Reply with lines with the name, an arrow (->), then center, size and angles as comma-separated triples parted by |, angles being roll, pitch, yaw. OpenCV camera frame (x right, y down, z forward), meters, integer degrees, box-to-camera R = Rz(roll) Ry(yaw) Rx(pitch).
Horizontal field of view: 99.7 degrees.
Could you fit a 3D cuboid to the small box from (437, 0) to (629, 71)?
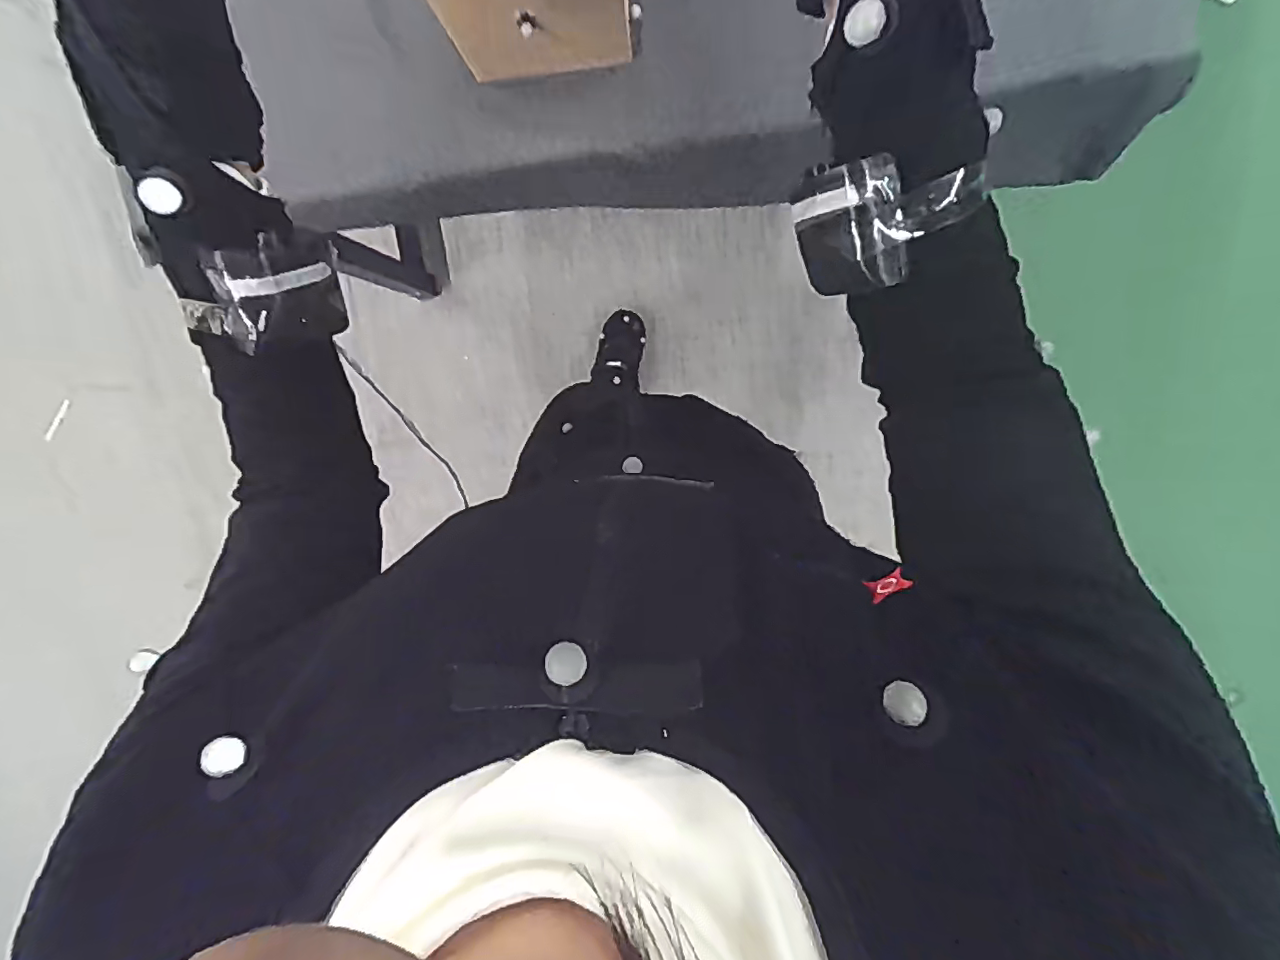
small box -> -0.103, -0.525, 0.507 | 0.179, 0.176, 0.168 | -4, 100, 4
